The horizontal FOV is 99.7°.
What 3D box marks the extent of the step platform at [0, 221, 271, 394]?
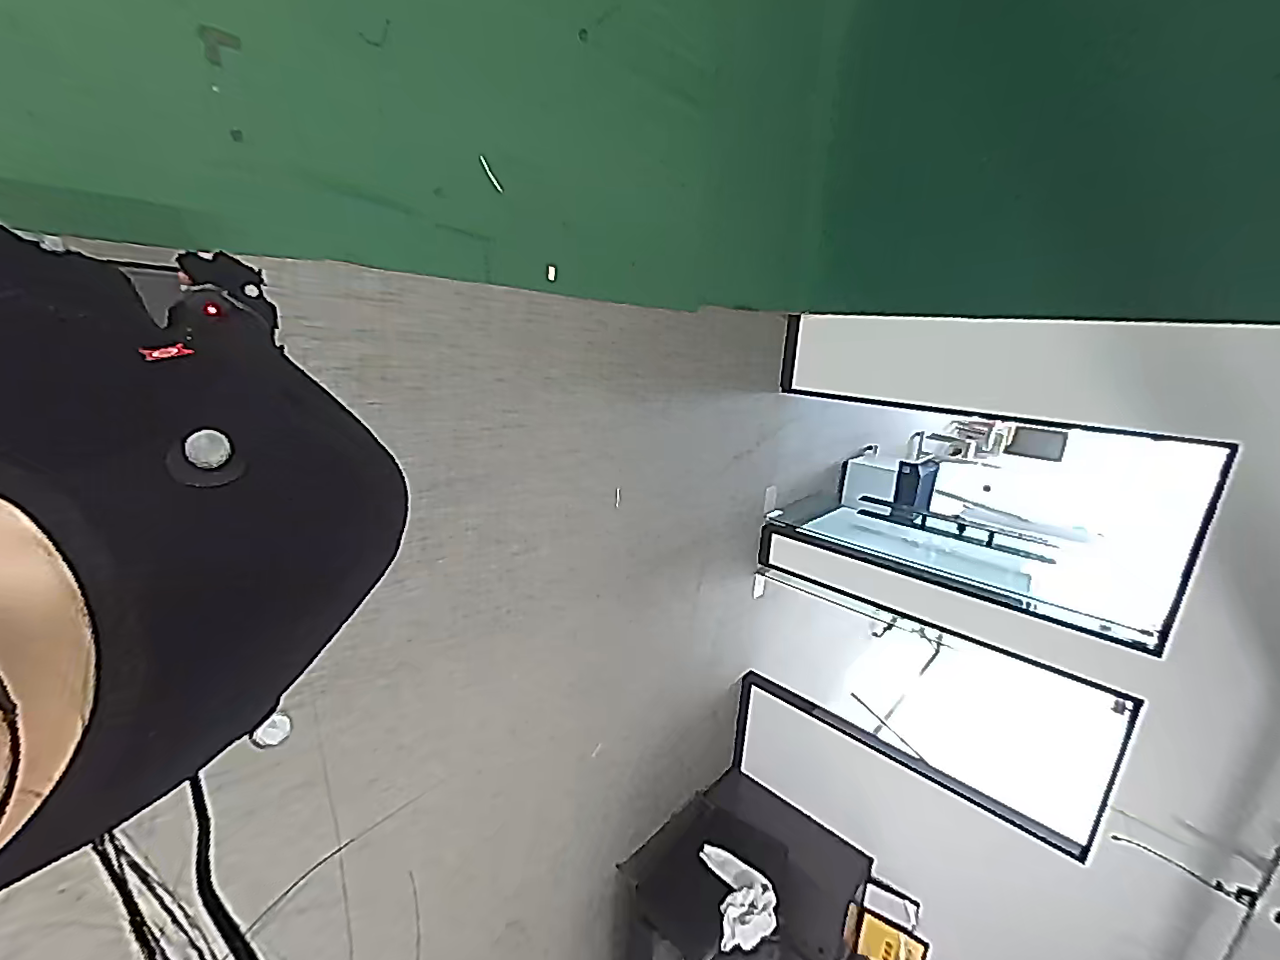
[{"bbox_3d":[-1.048,-0.288,0.910,0.684,0.204,0.286,-12,113,-45],"label":"step platform"}]
